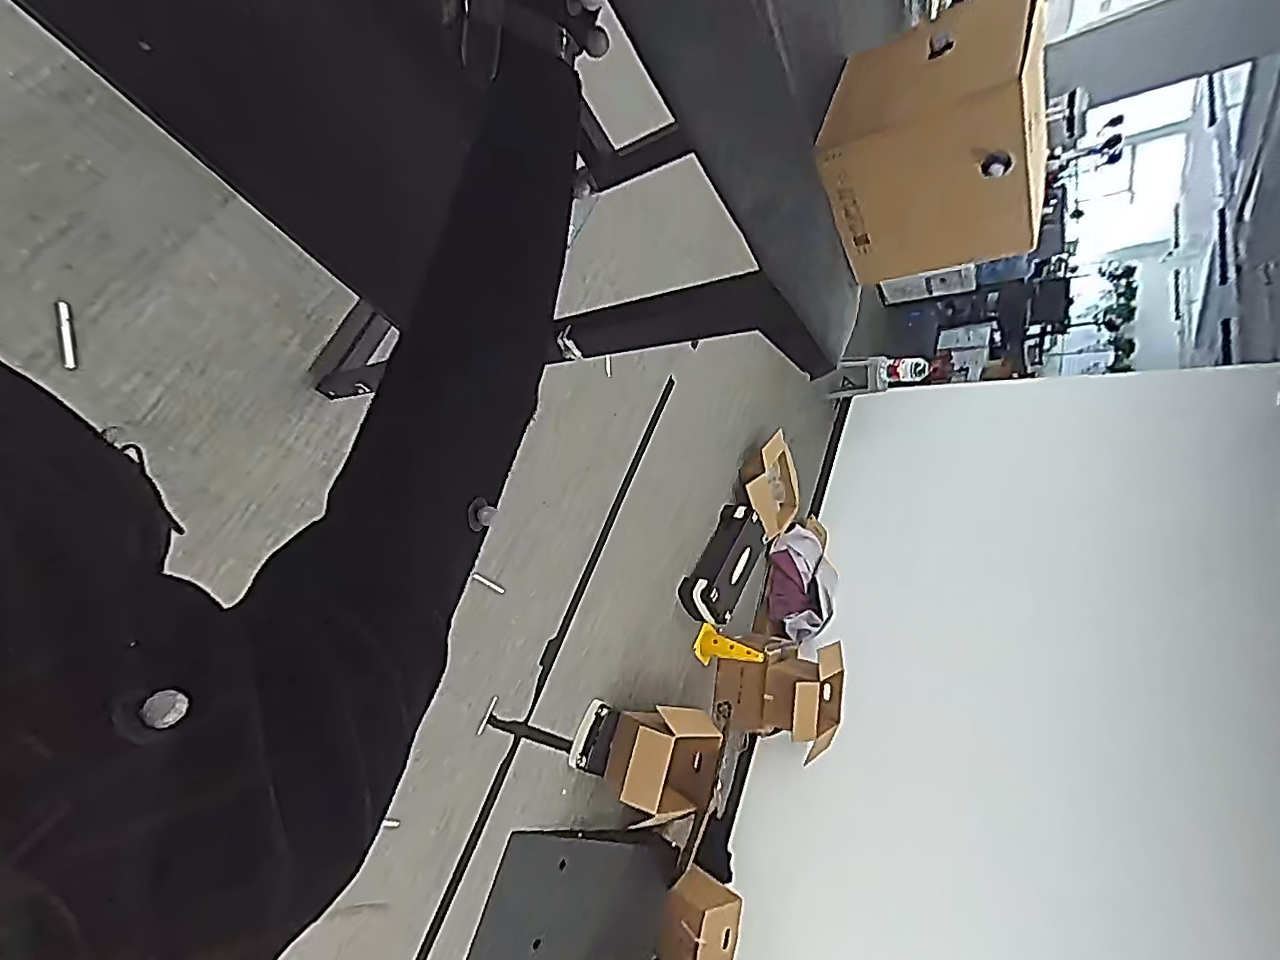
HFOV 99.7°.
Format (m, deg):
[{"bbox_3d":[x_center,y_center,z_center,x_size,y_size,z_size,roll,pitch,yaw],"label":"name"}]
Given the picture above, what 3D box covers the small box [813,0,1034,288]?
[{"bbox_3d":[0.292,-0.329,0.552,0.168,0.176,0.179,44,59,-41],"label":"small box"}]
